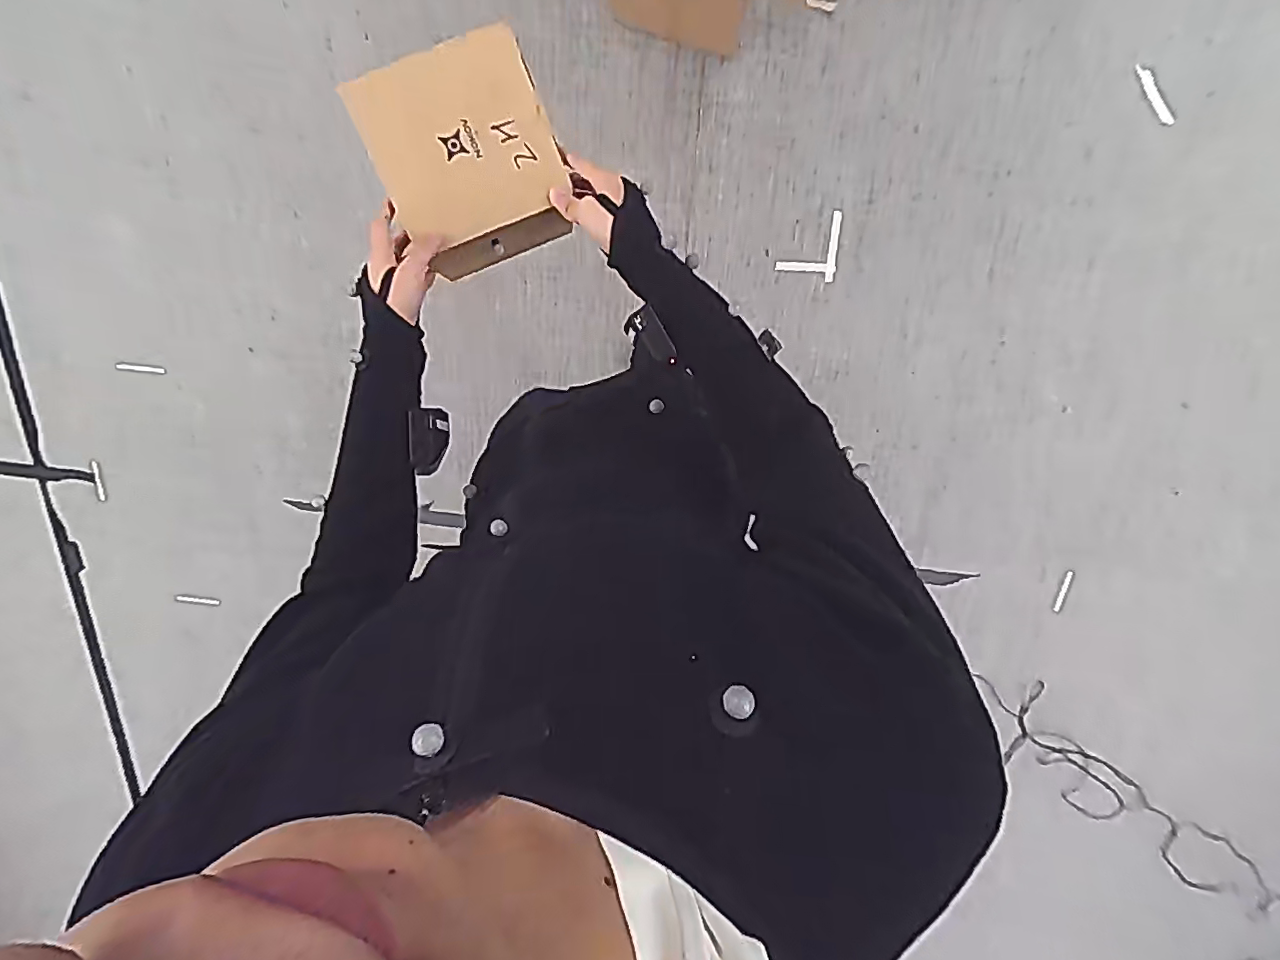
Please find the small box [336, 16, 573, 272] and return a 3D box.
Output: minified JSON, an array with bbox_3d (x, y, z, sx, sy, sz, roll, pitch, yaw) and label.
[{"bbox_3d":[-0.186,-0.348,0.601,0.179,0.176,0.168,-24,106,-3],"label":"small box"}]
